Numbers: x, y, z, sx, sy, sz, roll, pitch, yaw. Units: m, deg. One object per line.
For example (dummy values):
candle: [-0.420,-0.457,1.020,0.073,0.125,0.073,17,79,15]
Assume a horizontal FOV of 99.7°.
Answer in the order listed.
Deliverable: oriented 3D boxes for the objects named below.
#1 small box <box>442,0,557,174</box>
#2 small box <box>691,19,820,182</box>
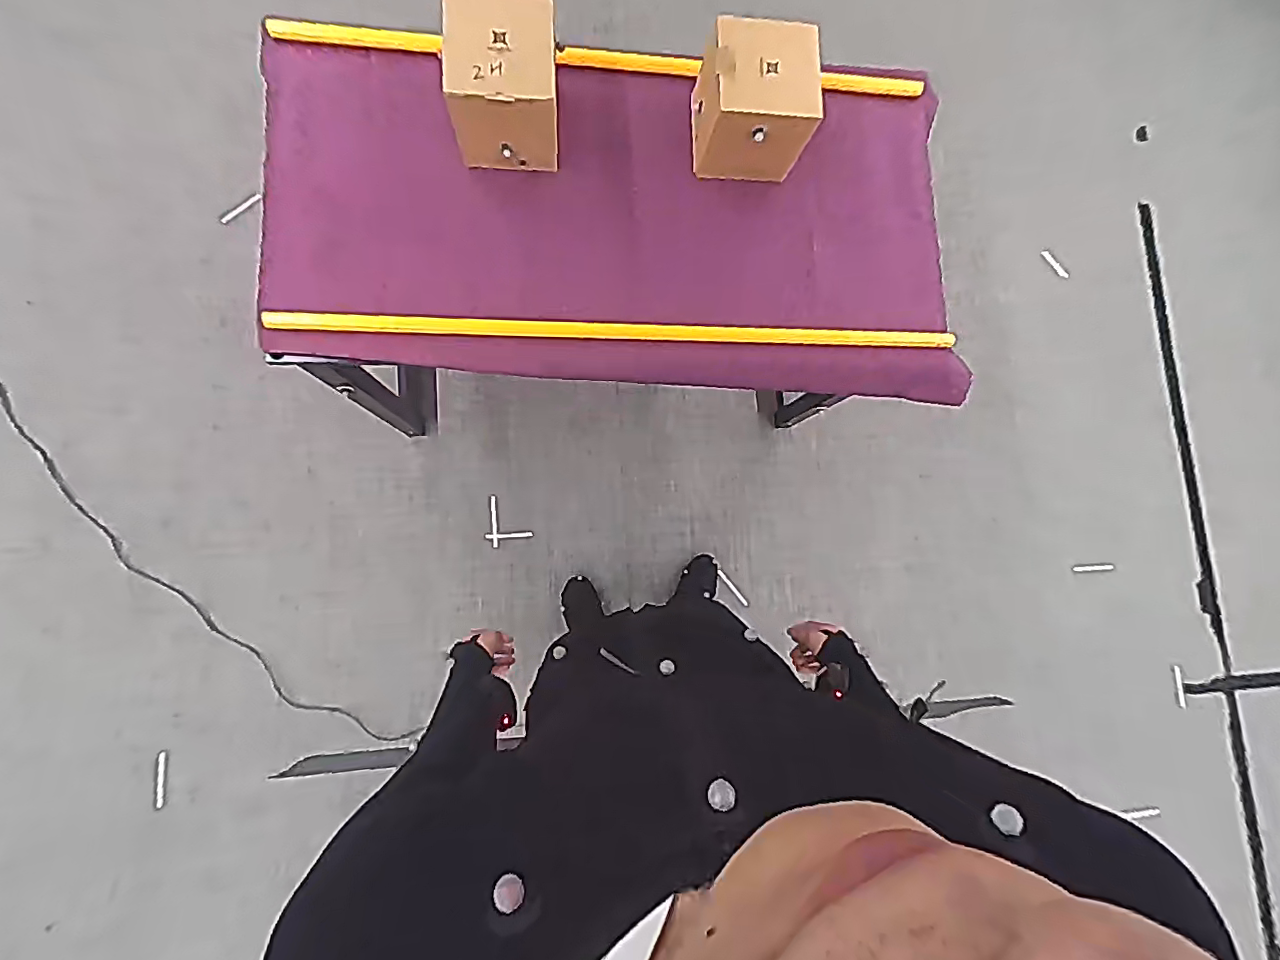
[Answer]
small box: [-0.223,-0.646,0.894,0.168,0.176,0.179,-1,86,-7]
small box: [0.196,-0.654,0.952,0.179,0.176,0.168,-1,85,-7]
